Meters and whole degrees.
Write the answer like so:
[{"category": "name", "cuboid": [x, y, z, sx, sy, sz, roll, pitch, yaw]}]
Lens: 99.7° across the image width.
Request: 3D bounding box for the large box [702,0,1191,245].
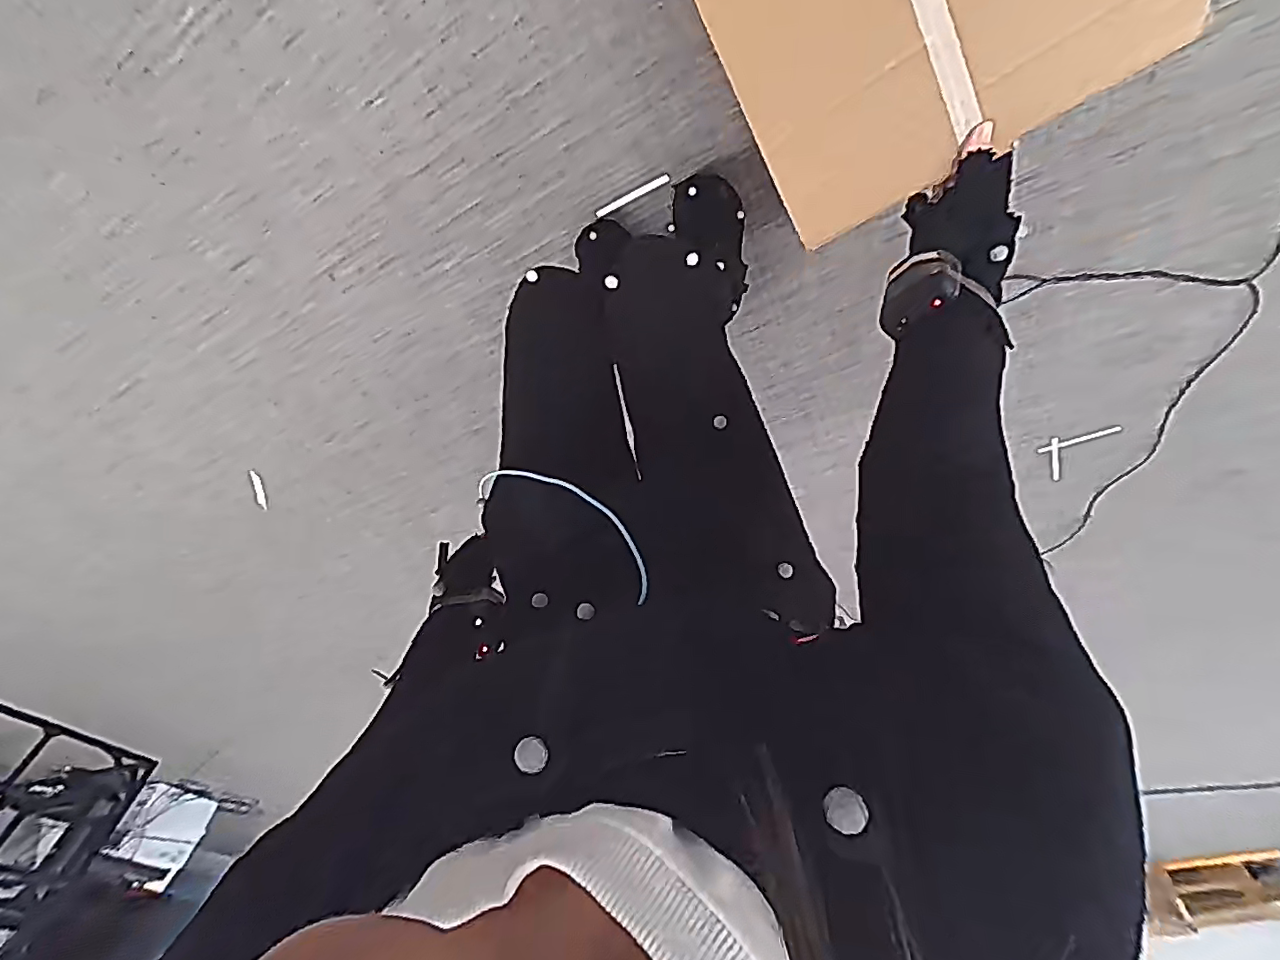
[{"category": "large box", "cuboid": [0.255, -0.526, 0.558, 0.320, 0.320, 0.408, -21, 110, 30]}]
